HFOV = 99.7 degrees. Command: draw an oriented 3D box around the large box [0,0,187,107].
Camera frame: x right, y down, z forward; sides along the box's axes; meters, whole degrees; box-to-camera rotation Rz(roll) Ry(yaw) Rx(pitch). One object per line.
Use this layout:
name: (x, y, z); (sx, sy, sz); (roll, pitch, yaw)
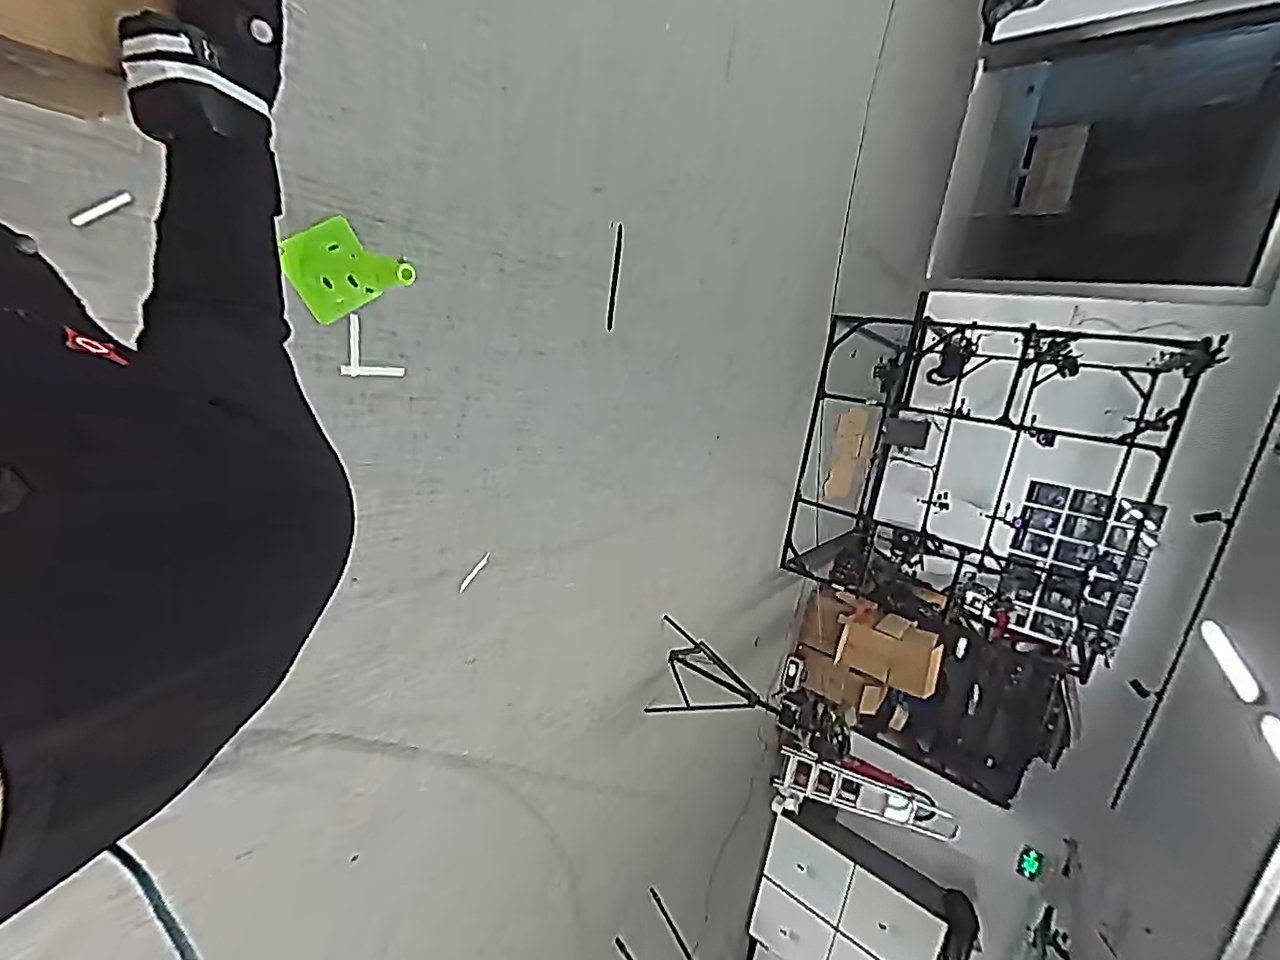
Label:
large box: (-0.543, -0.448, 0.275); (0.408, 0.320, 0.320); (-13, 119, -53)

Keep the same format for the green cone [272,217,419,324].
green cone: (-0.629, -0.473, 1.238); (0.202, 0.368, 0.200); (-50, 140, -31)
